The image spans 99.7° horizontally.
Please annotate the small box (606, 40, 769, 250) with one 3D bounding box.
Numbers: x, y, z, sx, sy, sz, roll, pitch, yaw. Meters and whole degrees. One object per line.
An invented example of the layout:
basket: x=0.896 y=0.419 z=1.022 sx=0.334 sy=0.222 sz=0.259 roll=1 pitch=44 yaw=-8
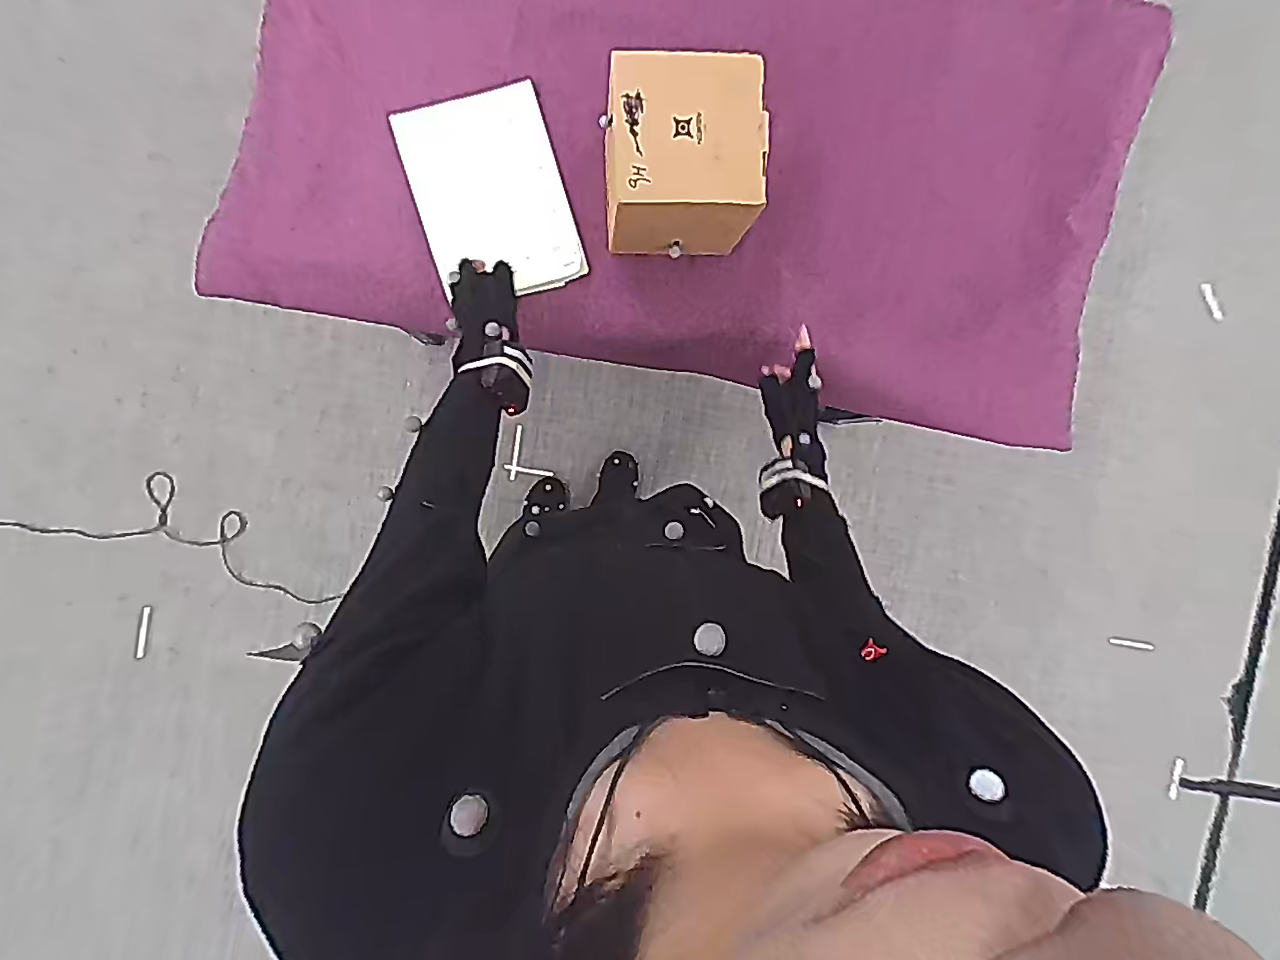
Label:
small box: x=0.050 y=-0.404 z=0.682 sx=0.179 sy=0.176 sz=0.168 roll=-2 pitch=93 yaw=-6
